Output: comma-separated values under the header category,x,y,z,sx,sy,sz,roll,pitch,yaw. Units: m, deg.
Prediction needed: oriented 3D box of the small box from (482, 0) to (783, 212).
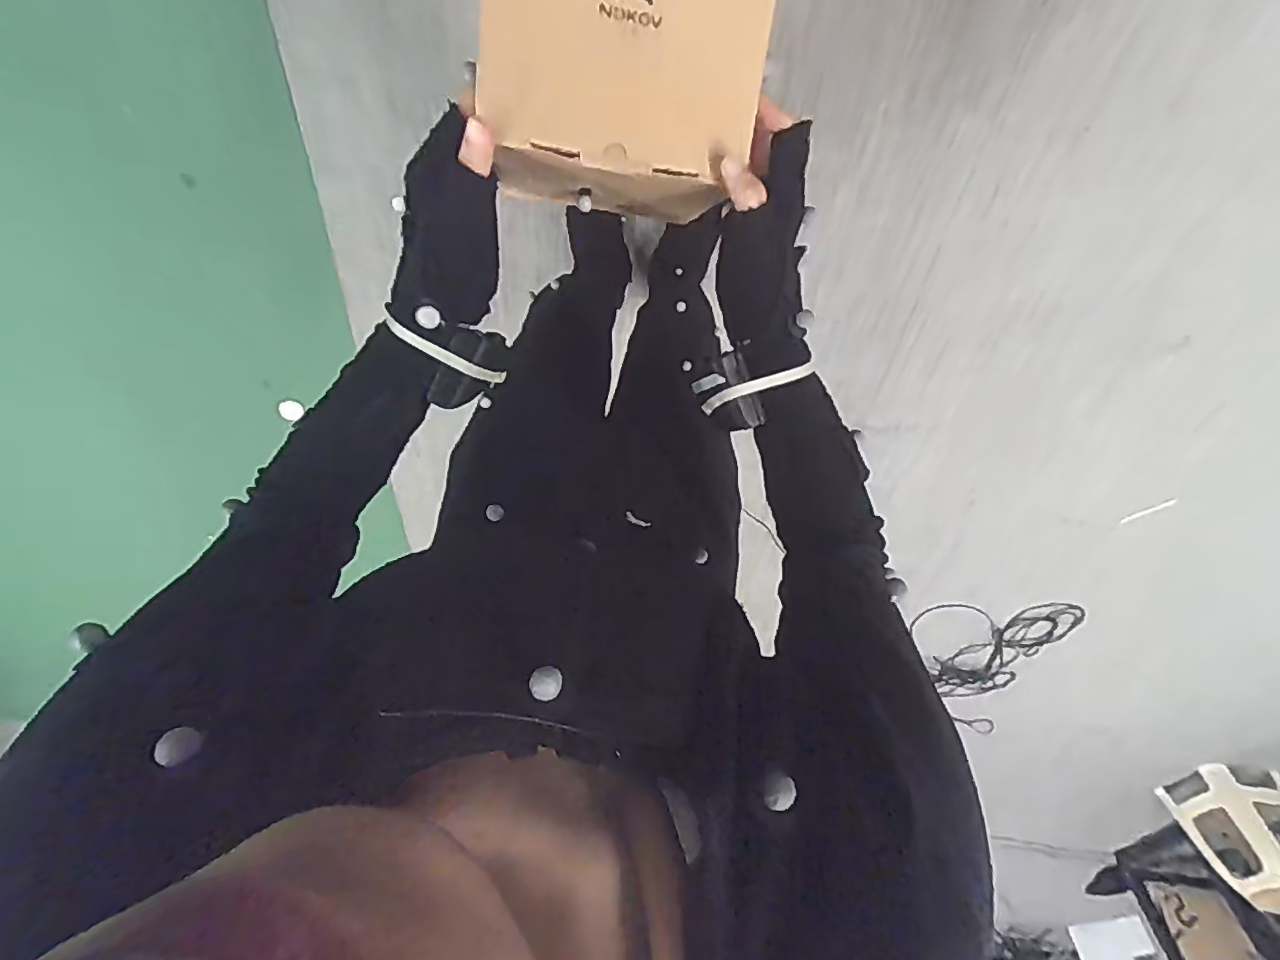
category,x,y,z,sx,sy,sz,roll,pitch,yaw
small box,-0.010,-0.303,0.370,0.168,0.176,0.179,4,107,-9
